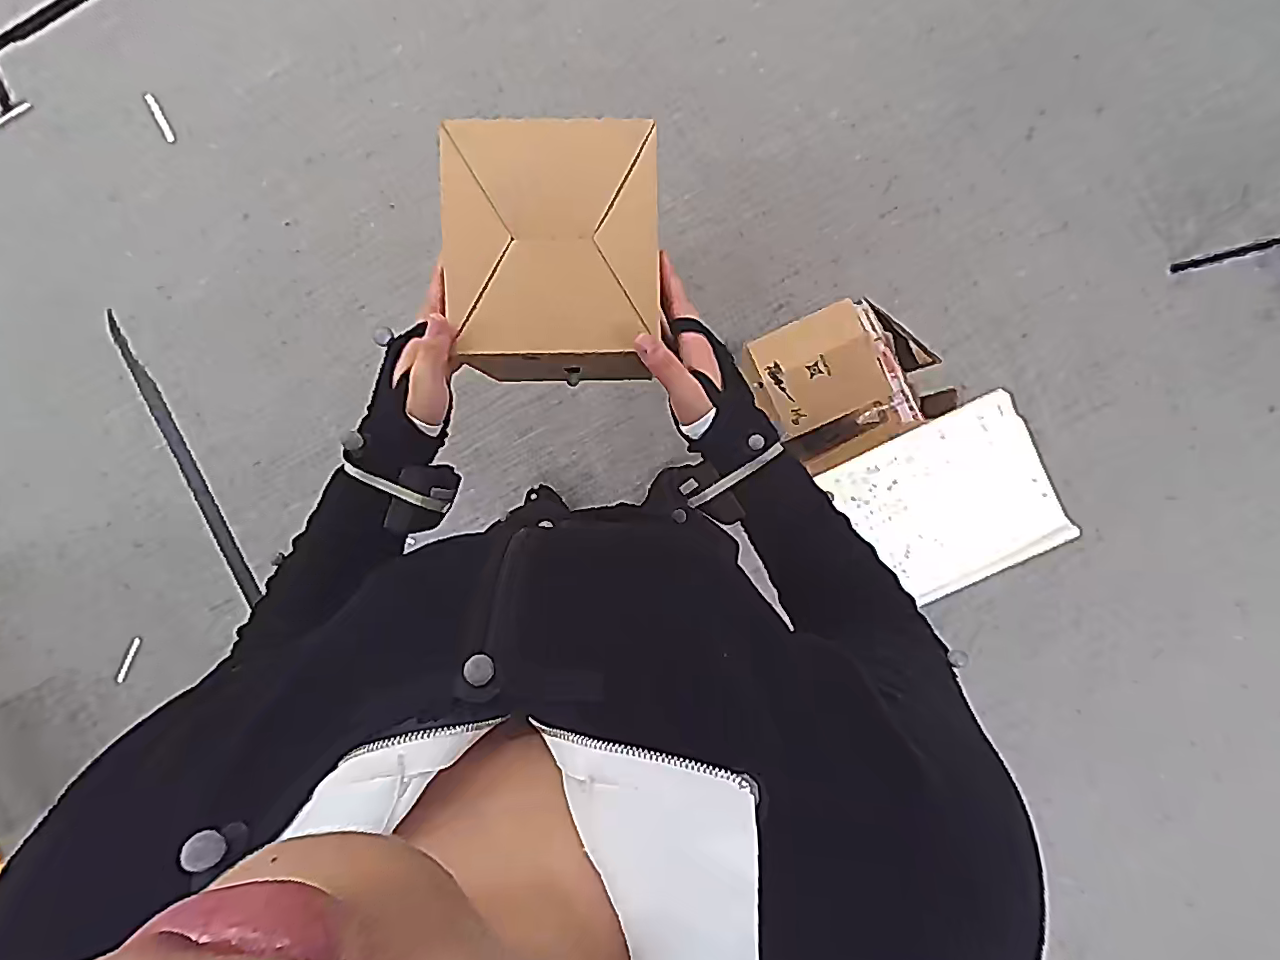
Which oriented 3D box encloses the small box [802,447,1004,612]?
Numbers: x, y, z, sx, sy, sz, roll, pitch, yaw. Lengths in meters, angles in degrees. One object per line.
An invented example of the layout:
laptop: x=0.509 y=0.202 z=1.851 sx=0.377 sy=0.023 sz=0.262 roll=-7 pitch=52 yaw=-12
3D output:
small box: x=0.358 y=0.059 z=0.771 sx=0.179 sy=0.176 sz=0.168 roll=-25 pitch=92 yaw=4
